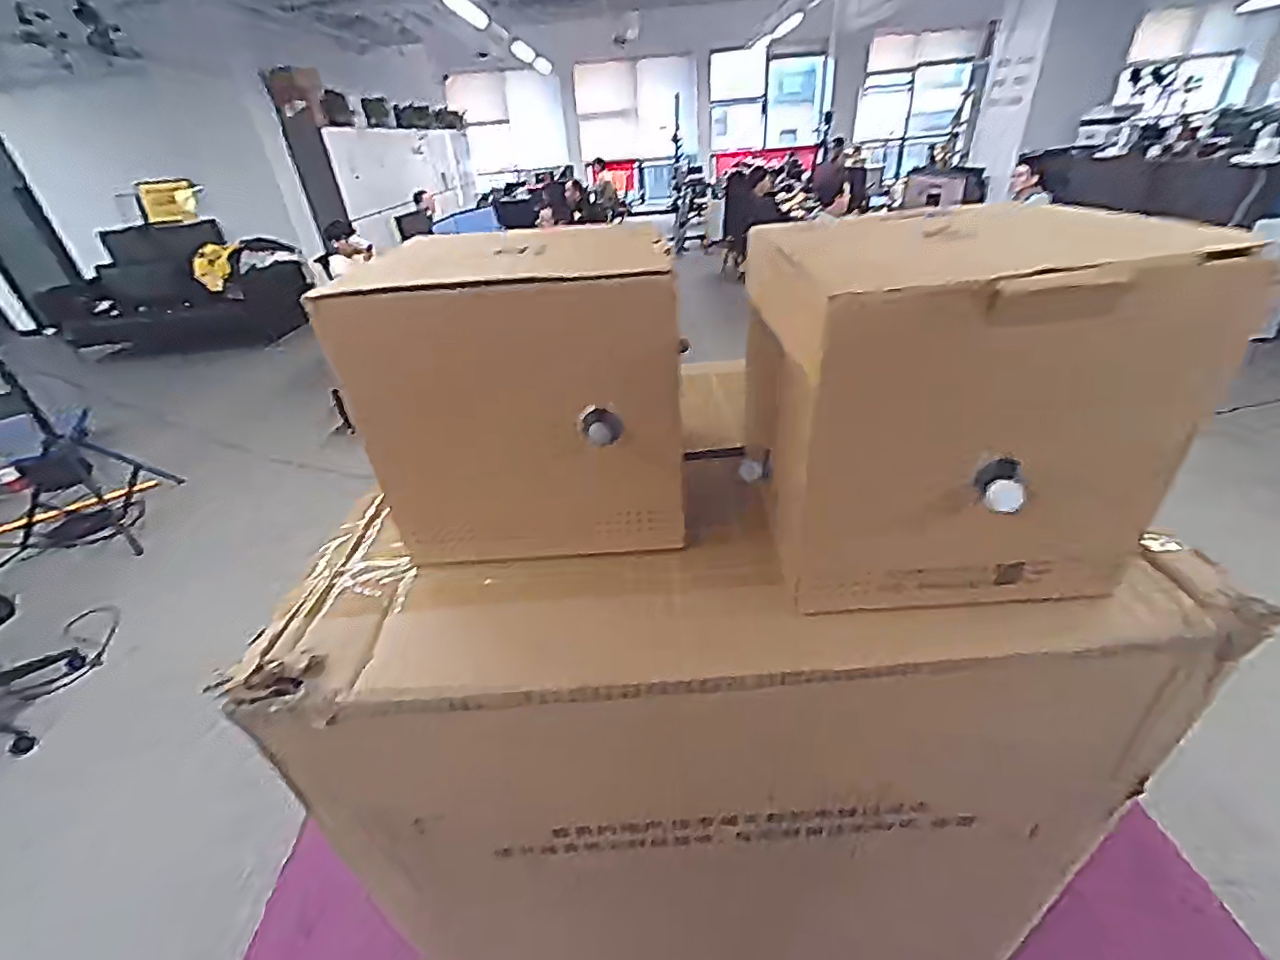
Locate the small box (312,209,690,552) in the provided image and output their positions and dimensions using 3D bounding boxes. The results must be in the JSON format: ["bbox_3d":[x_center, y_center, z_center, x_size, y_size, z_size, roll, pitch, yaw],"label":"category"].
[{"bbox_3d":[-0.061,-0.069,0.355,0.179,0.176,0.168,-5,32,1],"label":"small box"}]

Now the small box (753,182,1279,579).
[{"bbox_3d":[0.160,-0.057,0.308,0.168,0.176,0.179,-4,33,3],"label":"small box"}]
